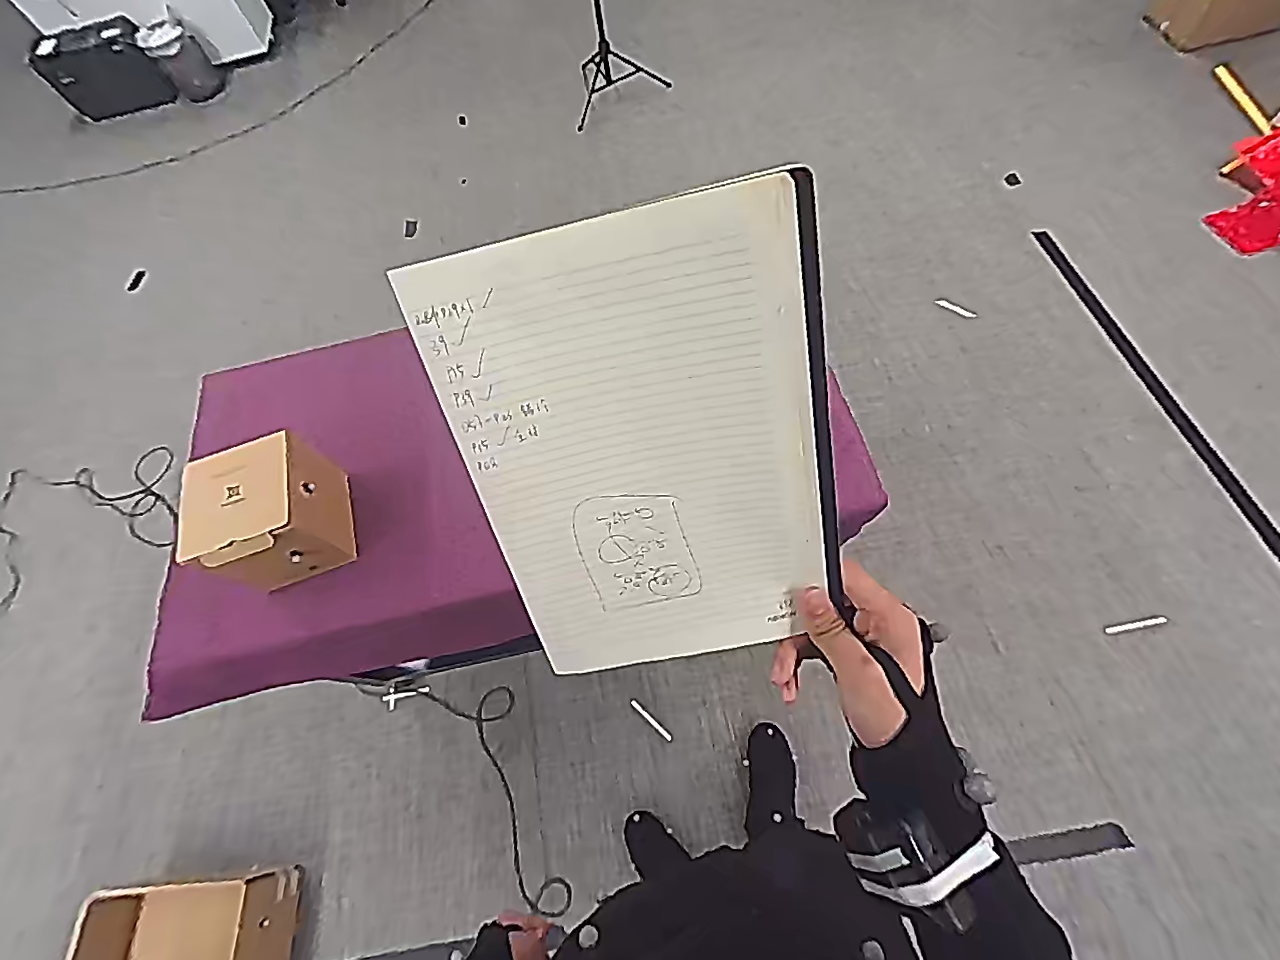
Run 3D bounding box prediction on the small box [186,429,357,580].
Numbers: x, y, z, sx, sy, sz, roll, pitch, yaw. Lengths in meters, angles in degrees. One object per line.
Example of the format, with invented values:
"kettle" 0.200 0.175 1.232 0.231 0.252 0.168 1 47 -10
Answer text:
"small box" -0.586 0.051 0.879 0.168 0.176 0.179 -19 64 -2
